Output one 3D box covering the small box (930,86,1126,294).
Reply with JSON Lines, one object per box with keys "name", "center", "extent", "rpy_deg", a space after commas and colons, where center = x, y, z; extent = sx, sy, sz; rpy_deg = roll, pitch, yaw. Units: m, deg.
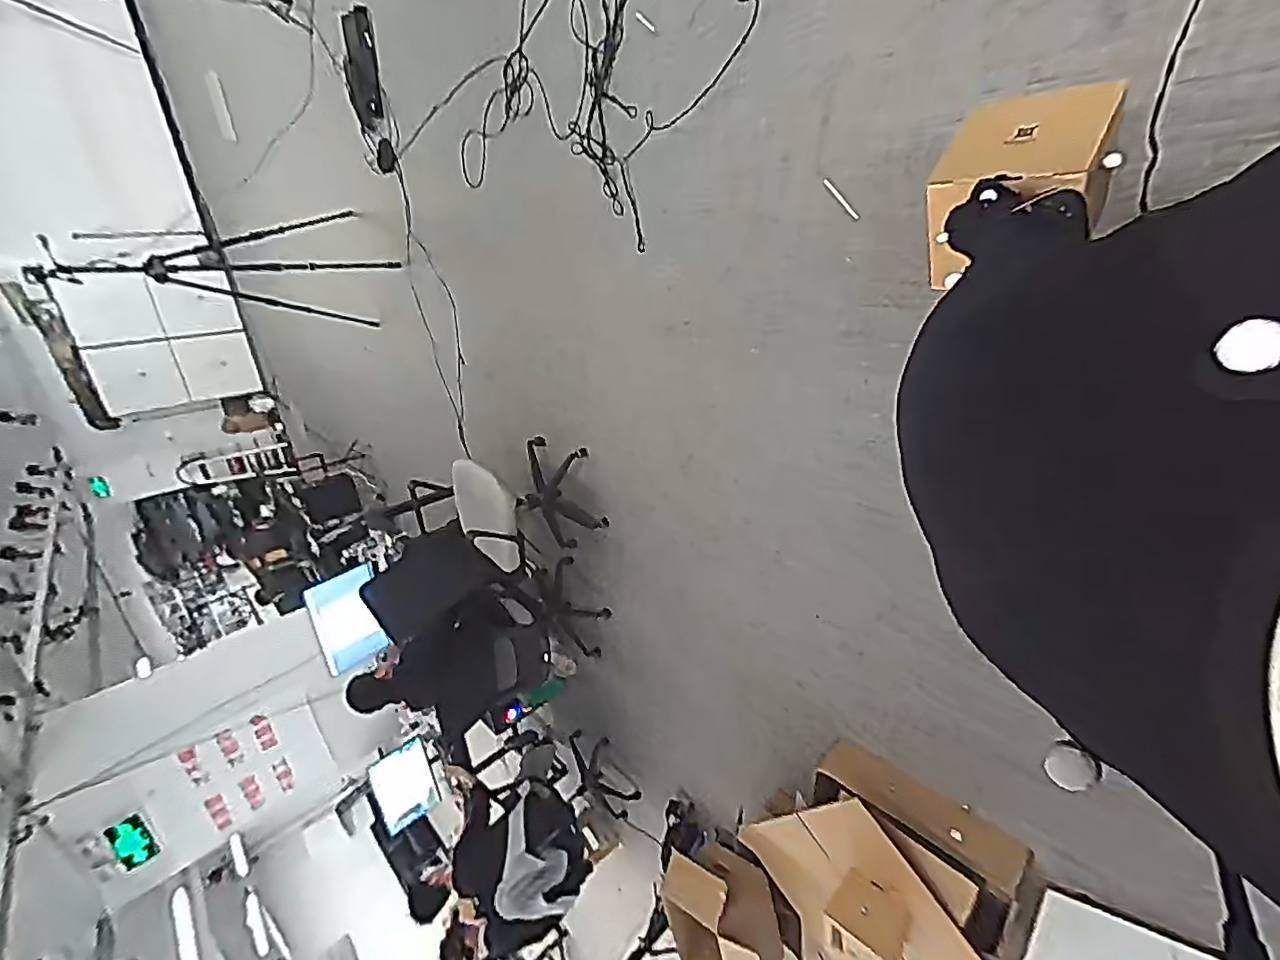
{"name": "small box", "center": [0.509, -0.377, 0.726], "extent": [0.168, 0.179, 0.176], "rpy_deg": [19, 159, 39]}
